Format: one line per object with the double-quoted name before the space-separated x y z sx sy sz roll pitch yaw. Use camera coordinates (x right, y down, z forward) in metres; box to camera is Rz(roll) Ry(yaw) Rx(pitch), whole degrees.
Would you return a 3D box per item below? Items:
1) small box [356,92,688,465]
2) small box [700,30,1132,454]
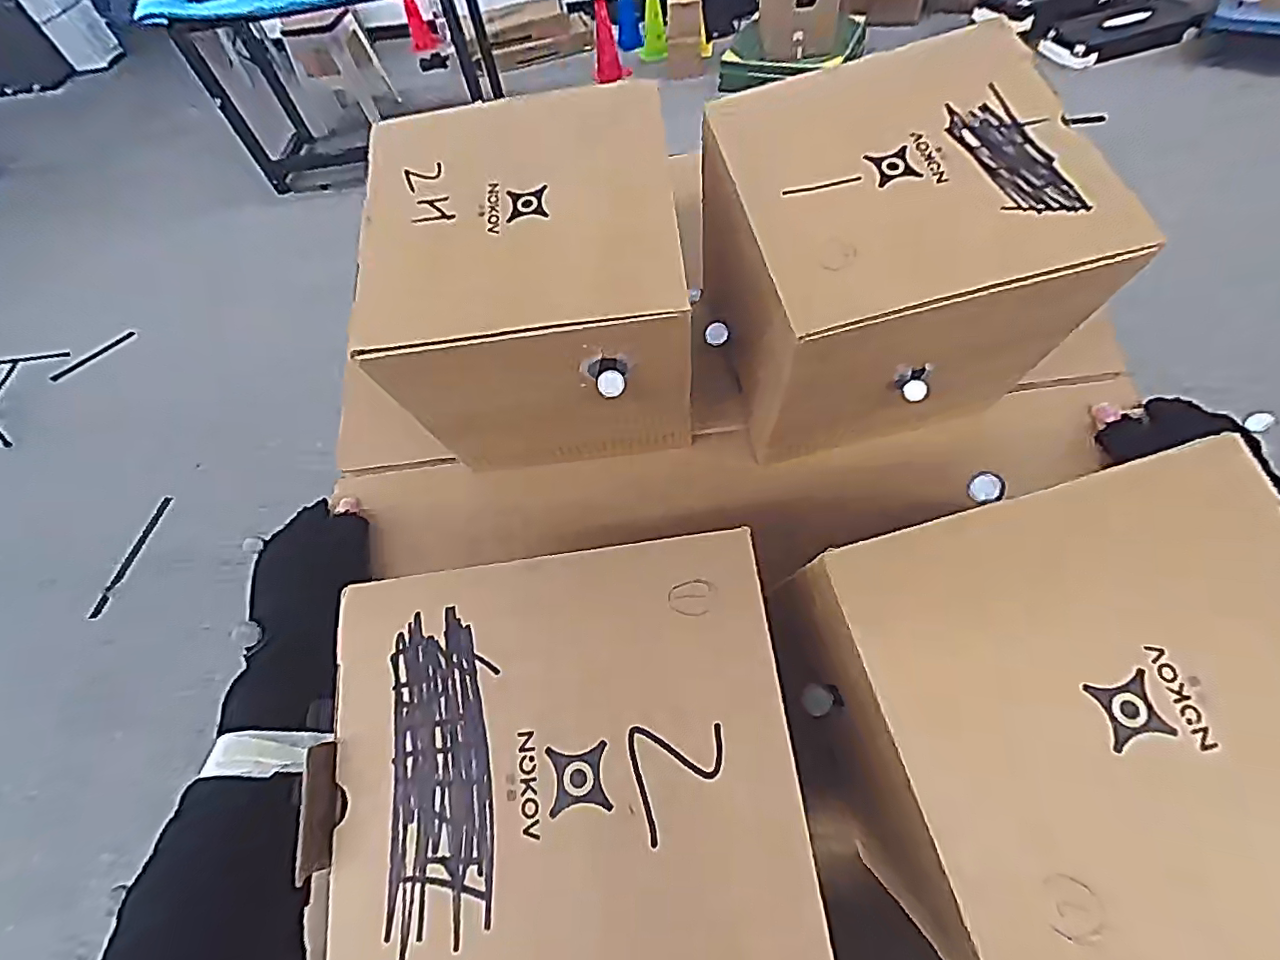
"small box" -0.061 -0.121 0.378 0.179 0.176 0.168 -6 69 4
"small box" 0.143 -0.136 0.360 0.179 0.176 0.168 -15 70 2
